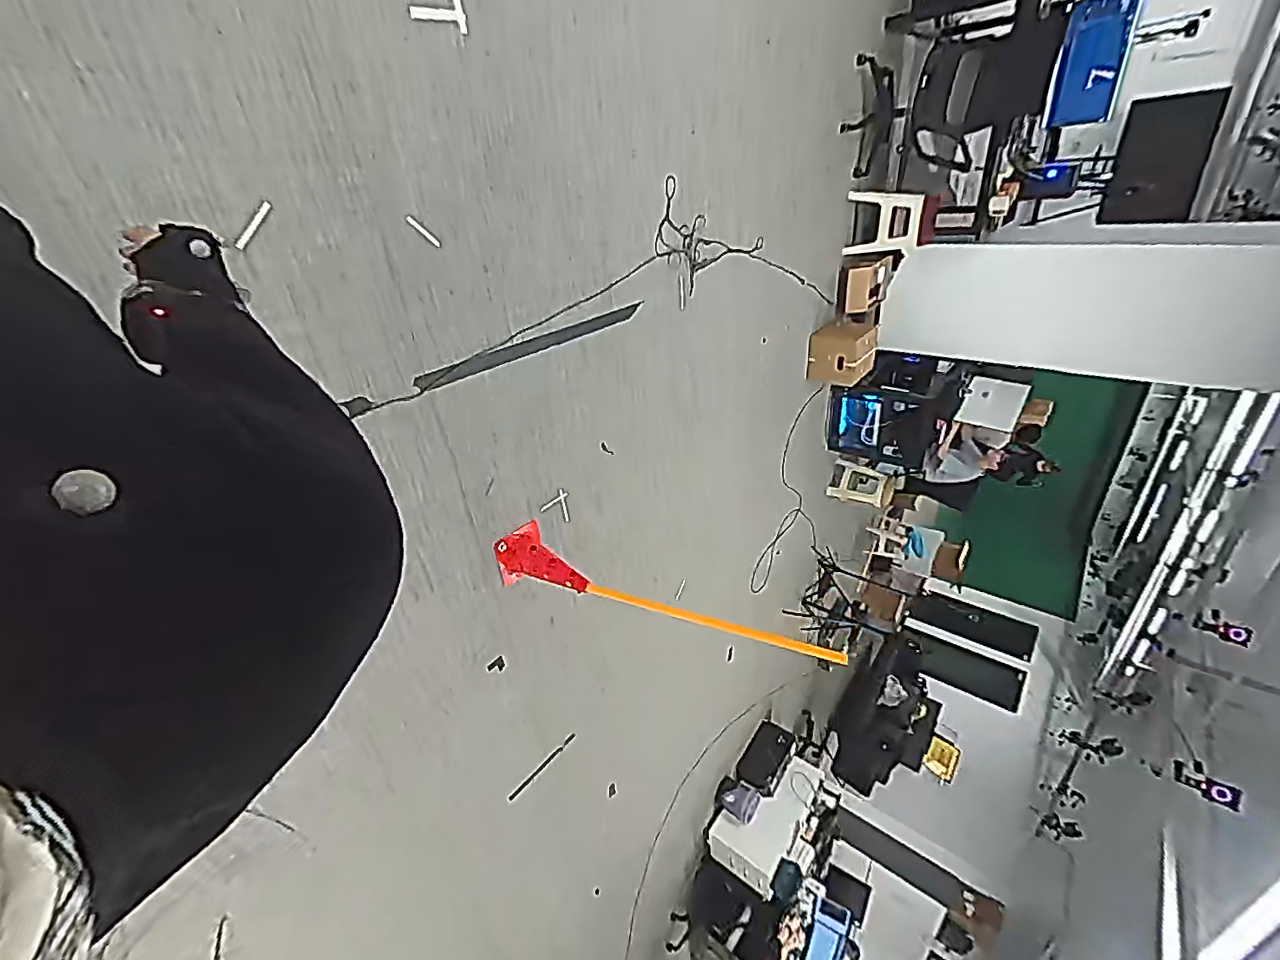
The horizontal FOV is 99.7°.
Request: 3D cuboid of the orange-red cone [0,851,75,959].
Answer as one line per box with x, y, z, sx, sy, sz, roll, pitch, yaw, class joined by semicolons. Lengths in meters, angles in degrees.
-1.184;0.925;0.996;0.199;0.360;0.198;-31;128;-42;orange-red cone
